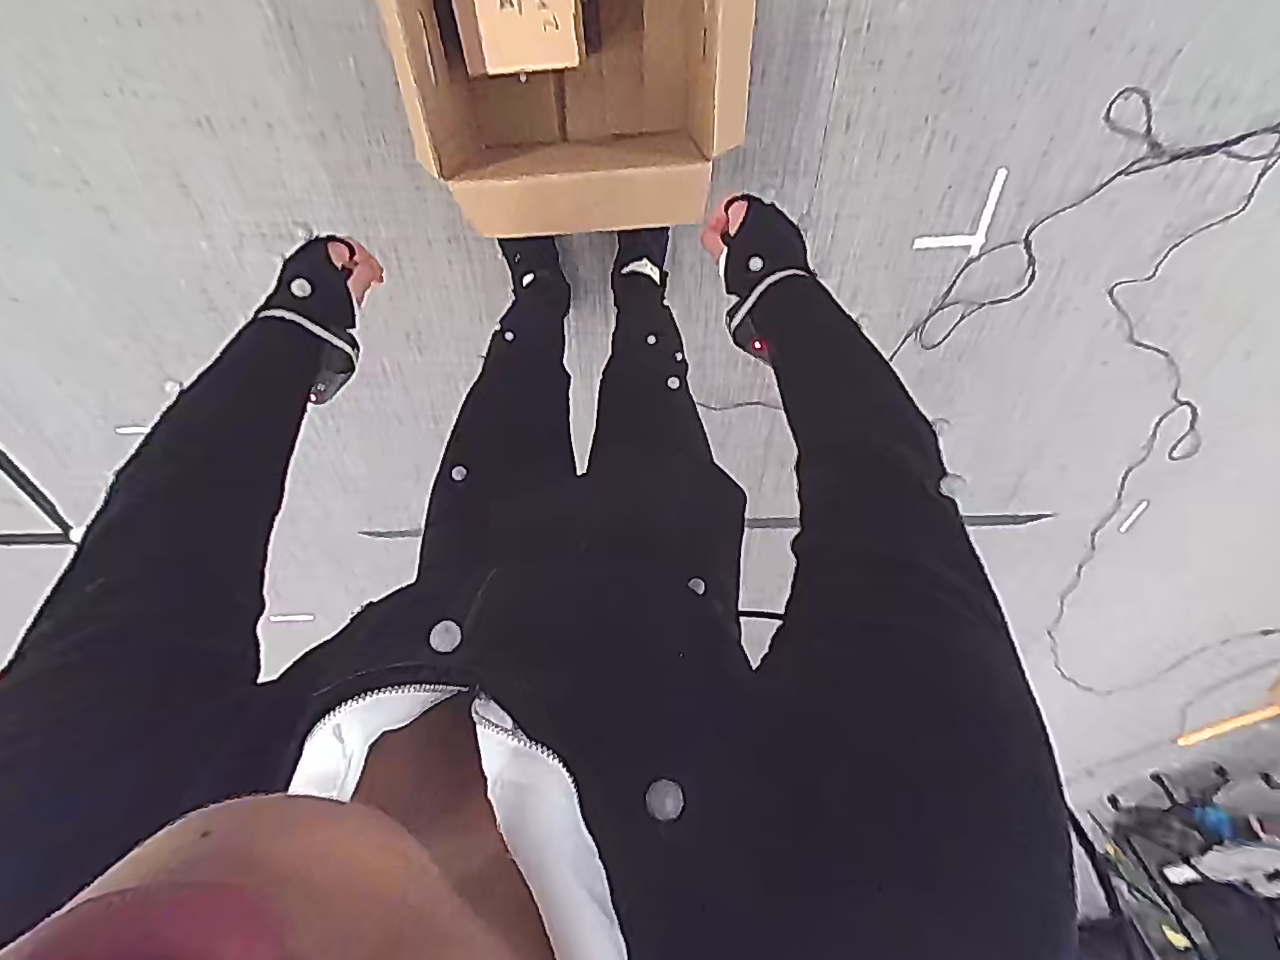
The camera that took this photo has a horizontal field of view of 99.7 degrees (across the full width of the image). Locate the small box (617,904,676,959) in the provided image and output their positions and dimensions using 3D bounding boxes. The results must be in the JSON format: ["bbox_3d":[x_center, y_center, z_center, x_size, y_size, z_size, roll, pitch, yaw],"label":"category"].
[{"bbox_3d":[0.018,1.507,1.762,0.179,0.176,0.168,-1,130,-4],"label":"small box"}]
